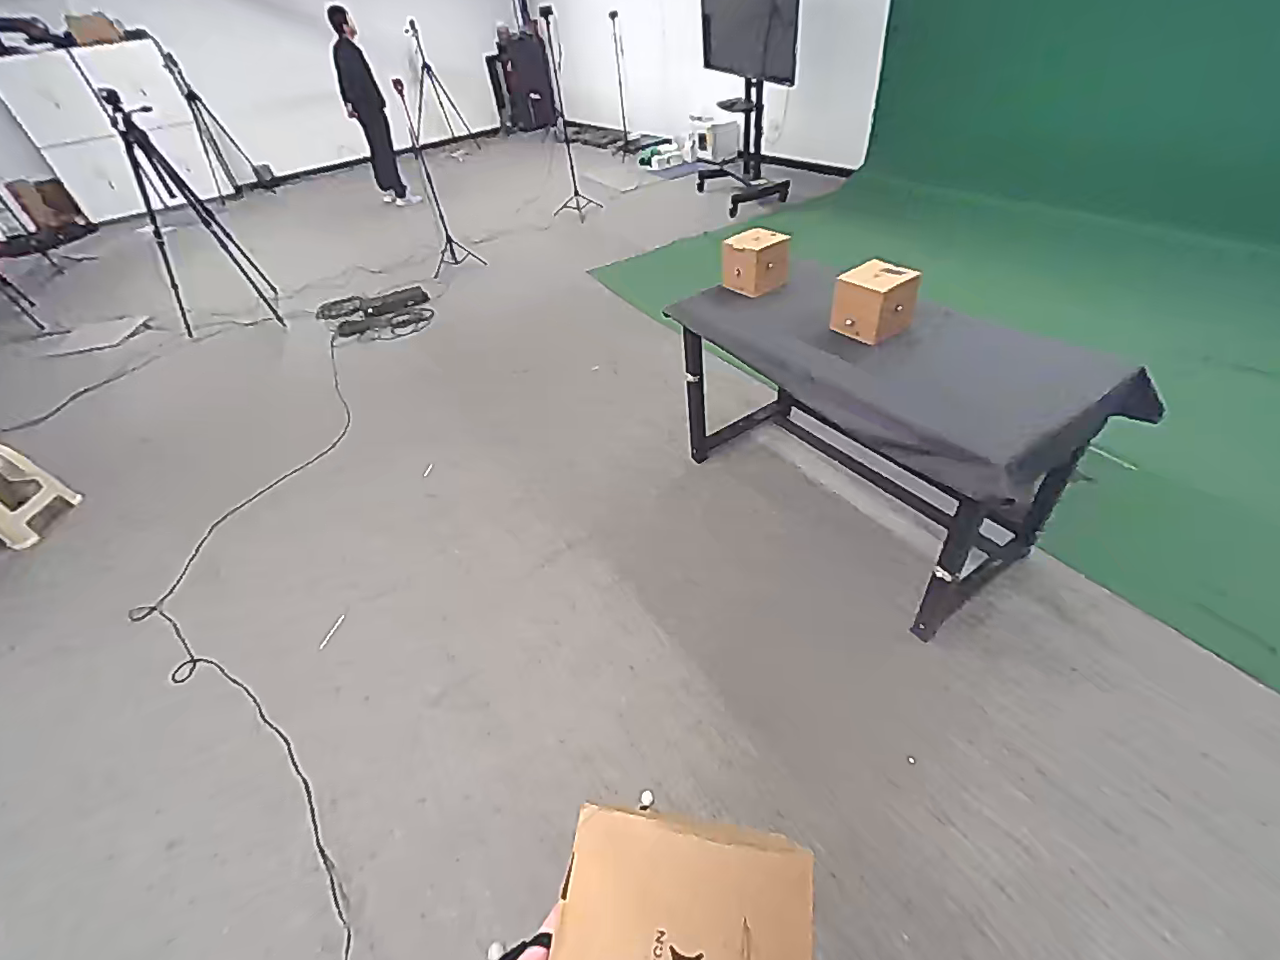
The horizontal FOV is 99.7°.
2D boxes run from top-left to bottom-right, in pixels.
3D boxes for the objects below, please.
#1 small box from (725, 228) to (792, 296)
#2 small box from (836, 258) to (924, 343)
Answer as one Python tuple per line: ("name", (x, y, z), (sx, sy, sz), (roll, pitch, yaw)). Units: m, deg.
("small box", (0.427, -0.787, 1.953), (0.179, 0.176, 0.168), (-31, 46, -22))
("small box", (0.711, -0.539, 1.625), (0.179, 0.176, 0.168), (-30, 45, -20))
